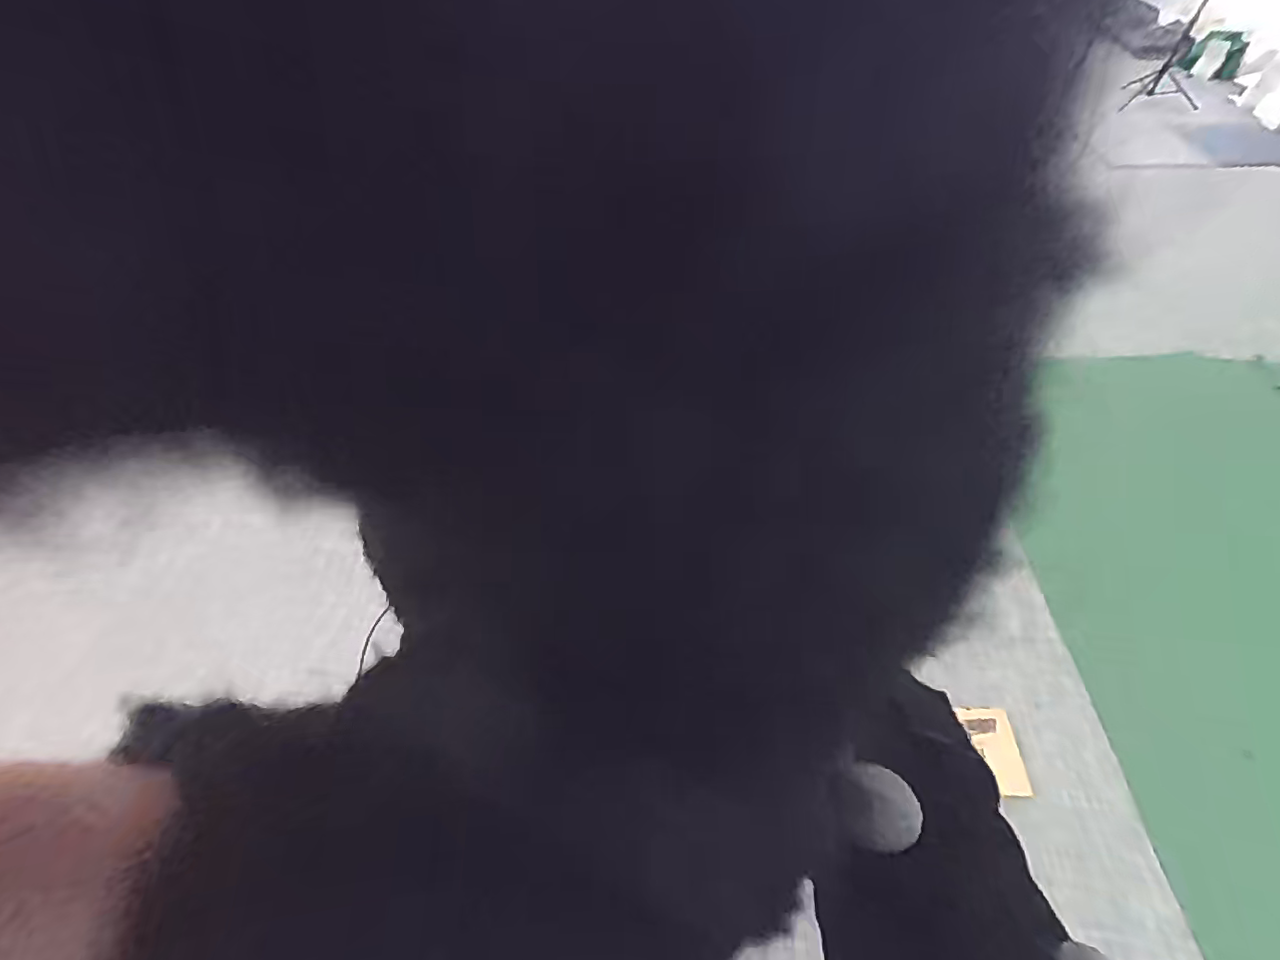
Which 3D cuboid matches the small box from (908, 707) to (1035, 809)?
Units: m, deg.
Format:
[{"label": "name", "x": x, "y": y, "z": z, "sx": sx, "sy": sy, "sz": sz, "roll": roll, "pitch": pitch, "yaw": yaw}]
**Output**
[{"label": "small box", "x": 0.736, "y": 0.632, "z": 1.228, "sx": 0.168, "sy": 0.176, "sz": 0.179, "roll": 1, "pitch": 54, "yaw": 2}]
